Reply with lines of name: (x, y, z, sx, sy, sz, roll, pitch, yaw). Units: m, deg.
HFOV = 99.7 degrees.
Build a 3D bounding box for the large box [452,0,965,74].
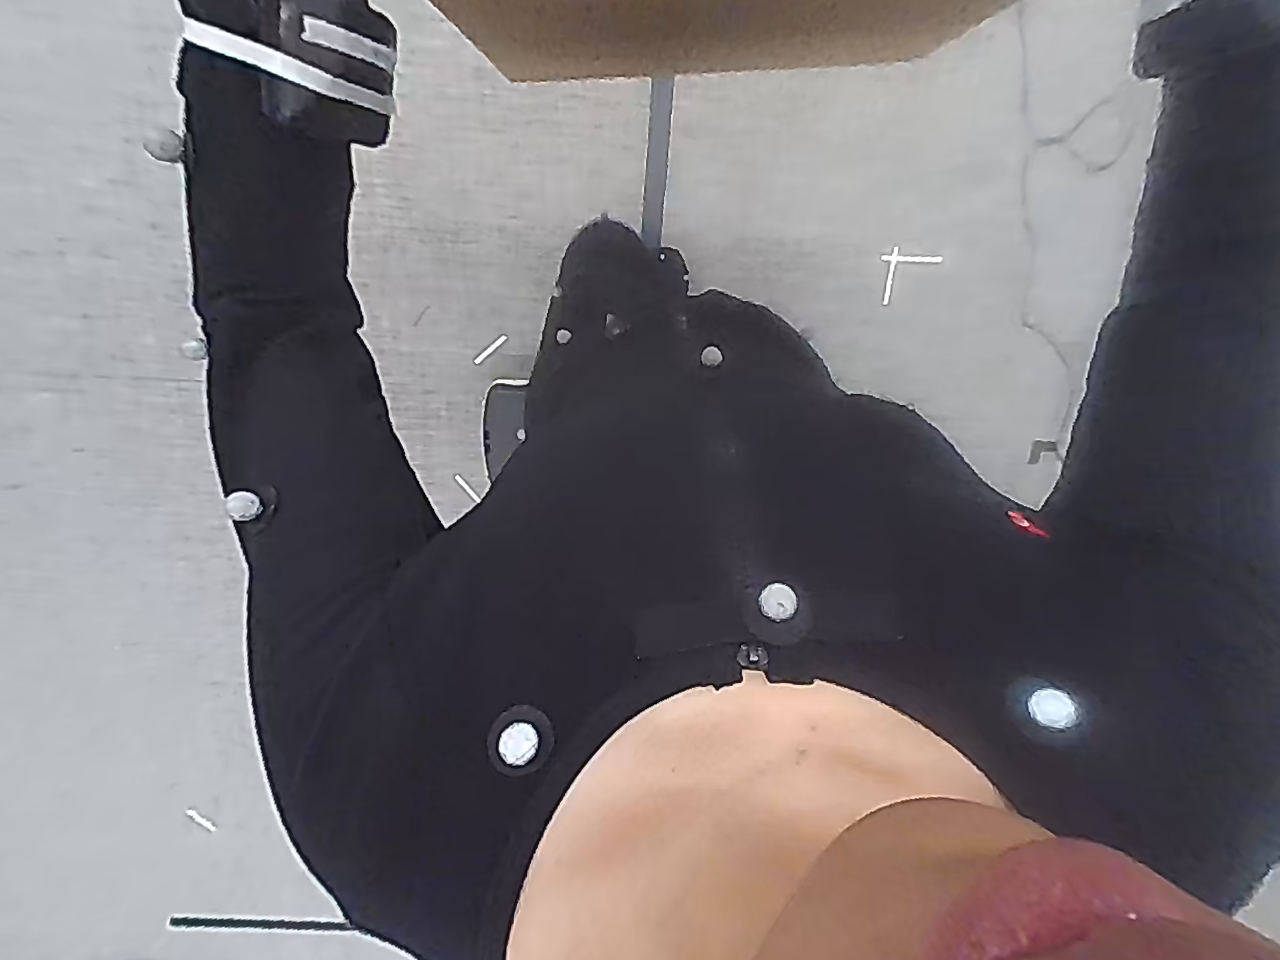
large box: (0.057, -0.485, 0.328, 0.408, 0.320, 0.320, -3, 116, 2)
